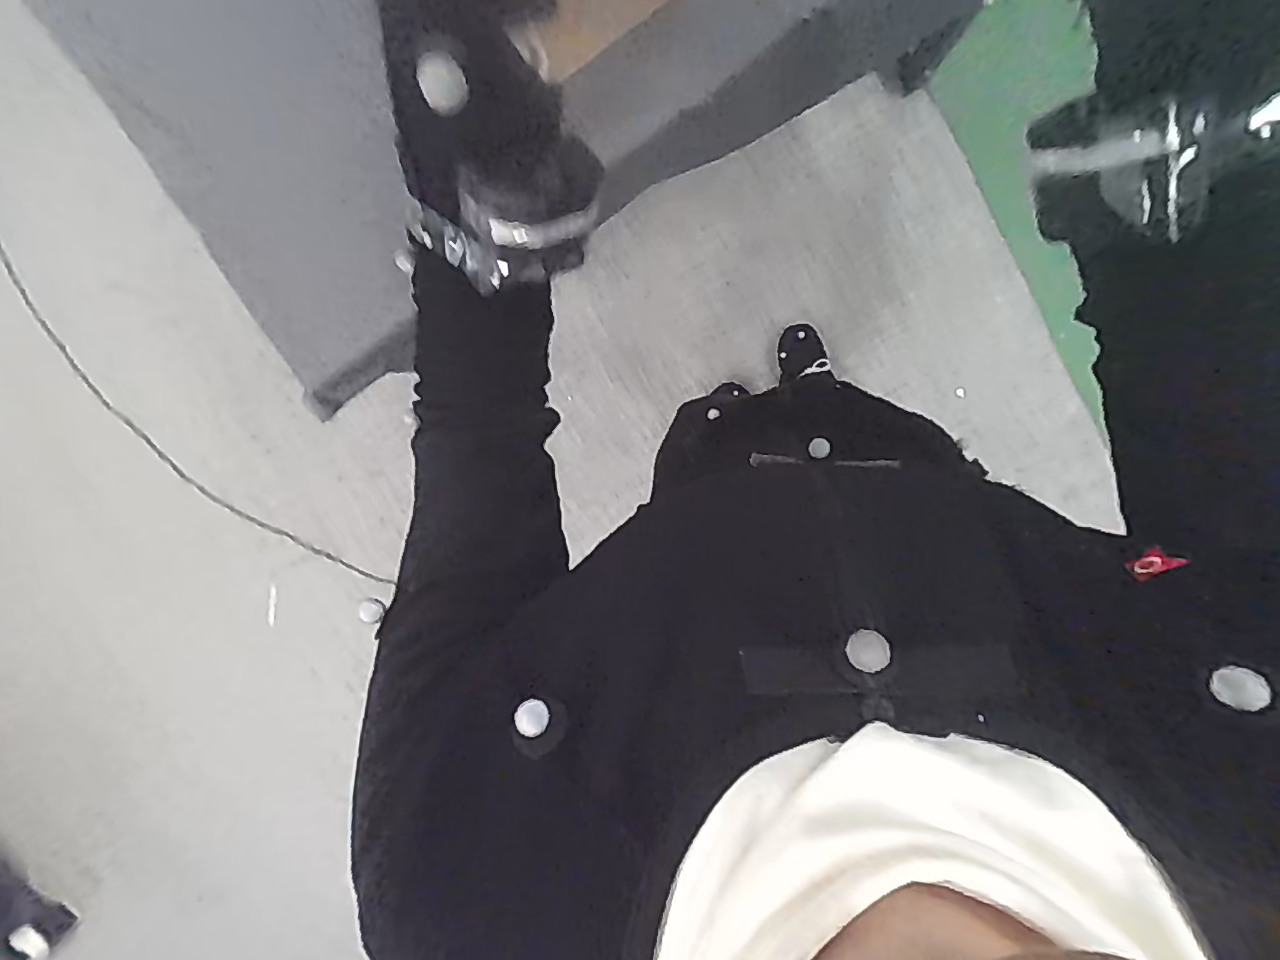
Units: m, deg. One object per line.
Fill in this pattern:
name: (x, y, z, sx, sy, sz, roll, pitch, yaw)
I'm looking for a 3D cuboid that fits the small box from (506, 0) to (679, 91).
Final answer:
small box: (-0.069, -0.548, 0.539, 0.179, 0.176, 0.168, -33, 93, 12)
